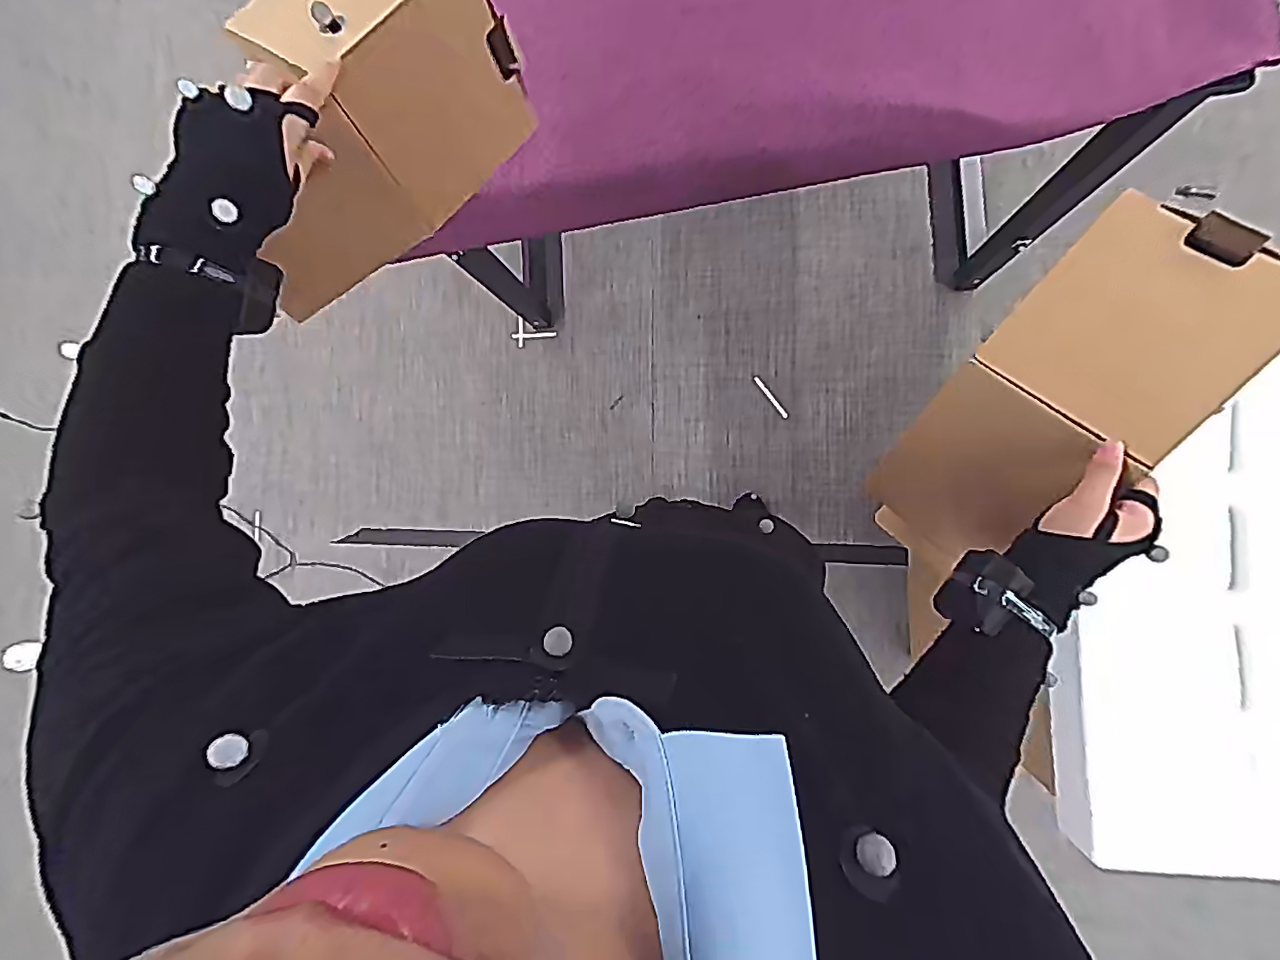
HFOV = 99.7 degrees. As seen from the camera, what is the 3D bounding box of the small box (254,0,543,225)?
[{"bbox_3d":[-0.237,-0.403,0.539,0.176,0.168,0.179,37,82,23],"label":"small box"}]
